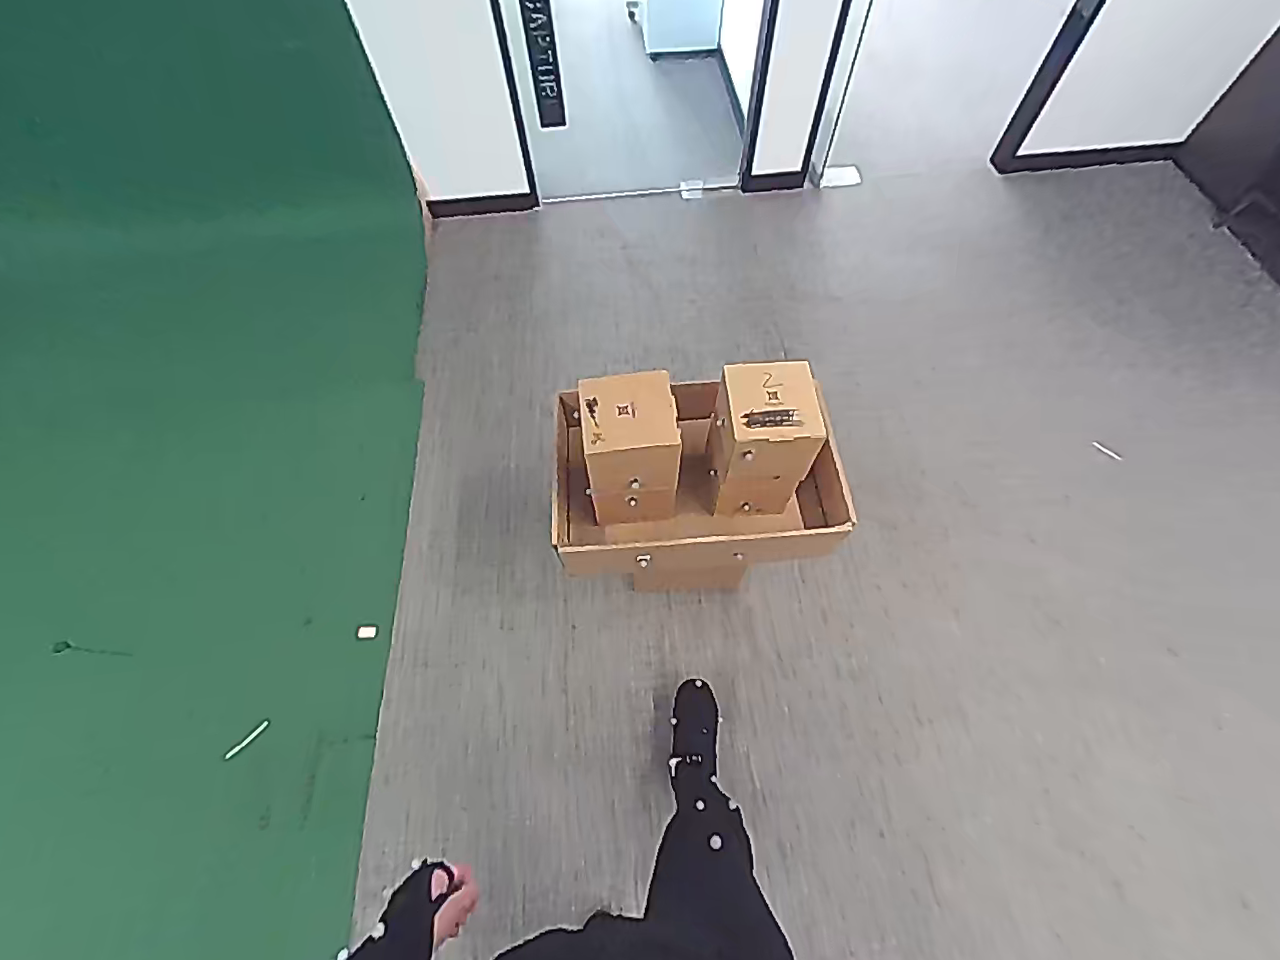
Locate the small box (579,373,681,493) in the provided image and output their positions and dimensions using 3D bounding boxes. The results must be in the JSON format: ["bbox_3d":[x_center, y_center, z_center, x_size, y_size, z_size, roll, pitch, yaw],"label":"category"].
[{"bbox_3d":[-0.022,-0.088,1.058,0.179,0.176,0.168,-6,62,-3],"label":"small box"}]

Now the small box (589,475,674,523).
[{"bbox_3d":[-0.020,-0.012,1.202,0.179,0.176,0.168,-5,63,-2],"label":"small box"}]
